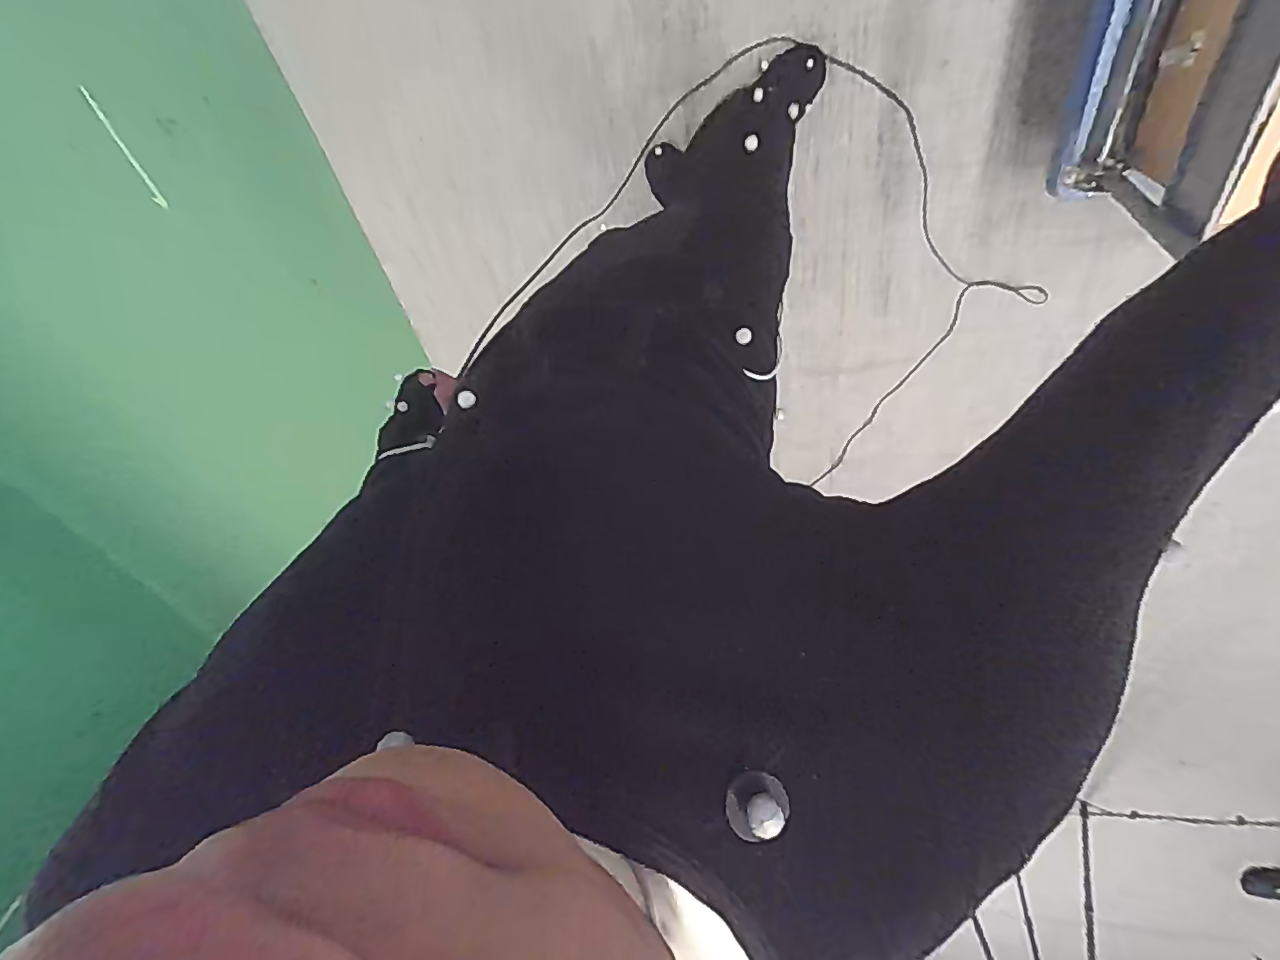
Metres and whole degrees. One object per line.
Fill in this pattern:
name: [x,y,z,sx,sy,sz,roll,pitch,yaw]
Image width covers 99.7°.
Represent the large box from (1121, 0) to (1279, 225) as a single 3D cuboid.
large box: [0.989,-0.573,0.717,0.408,0.320,0.320,0,133,16]
